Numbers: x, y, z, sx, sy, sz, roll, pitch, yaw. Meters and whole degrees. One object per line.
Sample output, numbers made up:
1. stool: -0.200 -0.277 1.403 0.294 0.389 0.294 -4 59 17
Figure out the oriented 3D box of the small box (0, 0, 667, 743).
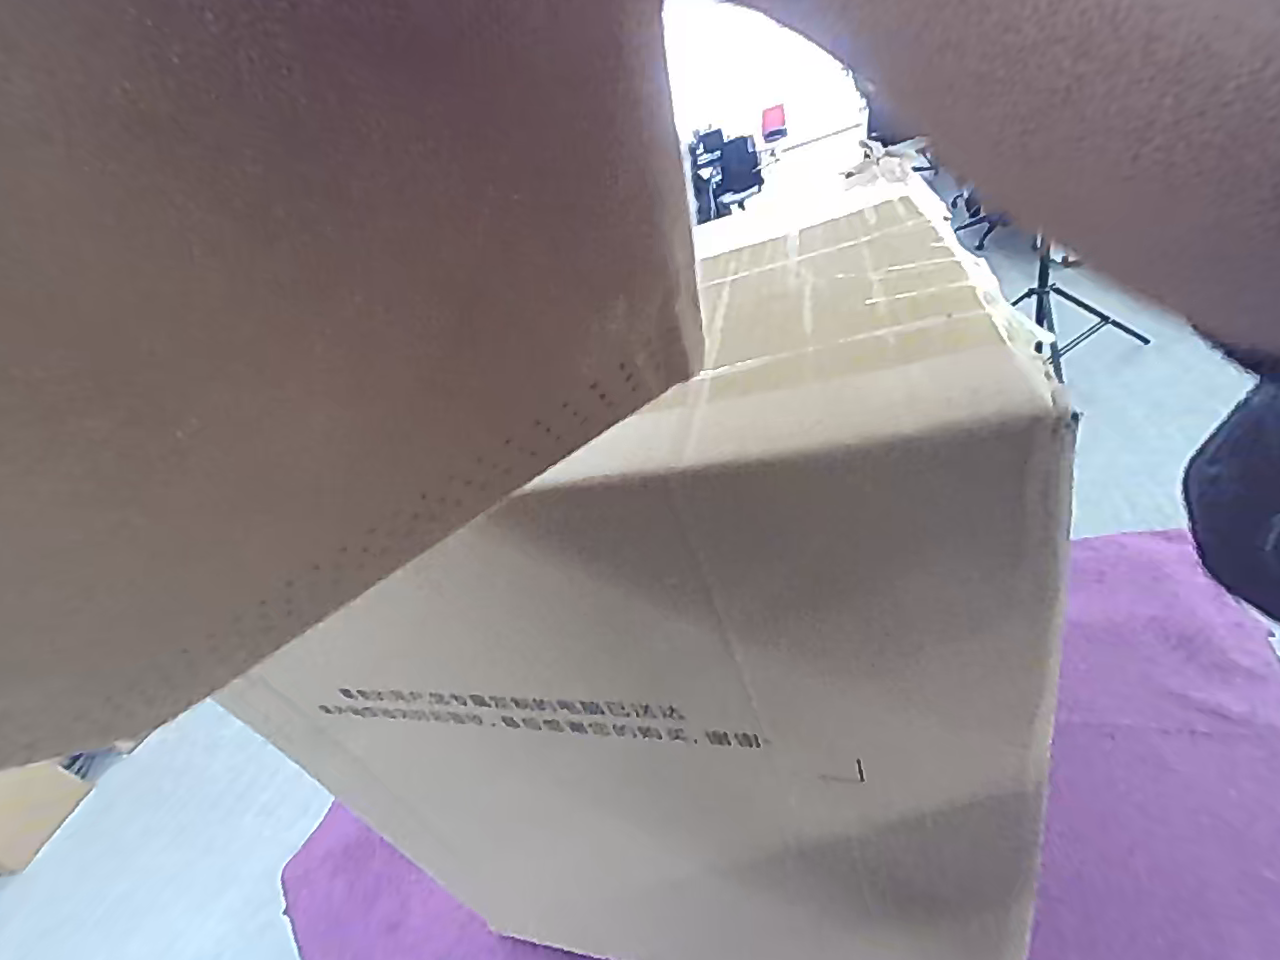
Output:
1. small box: -0.108 -0.066 0.075 0.179 0.176 0.168 -33 76 4
